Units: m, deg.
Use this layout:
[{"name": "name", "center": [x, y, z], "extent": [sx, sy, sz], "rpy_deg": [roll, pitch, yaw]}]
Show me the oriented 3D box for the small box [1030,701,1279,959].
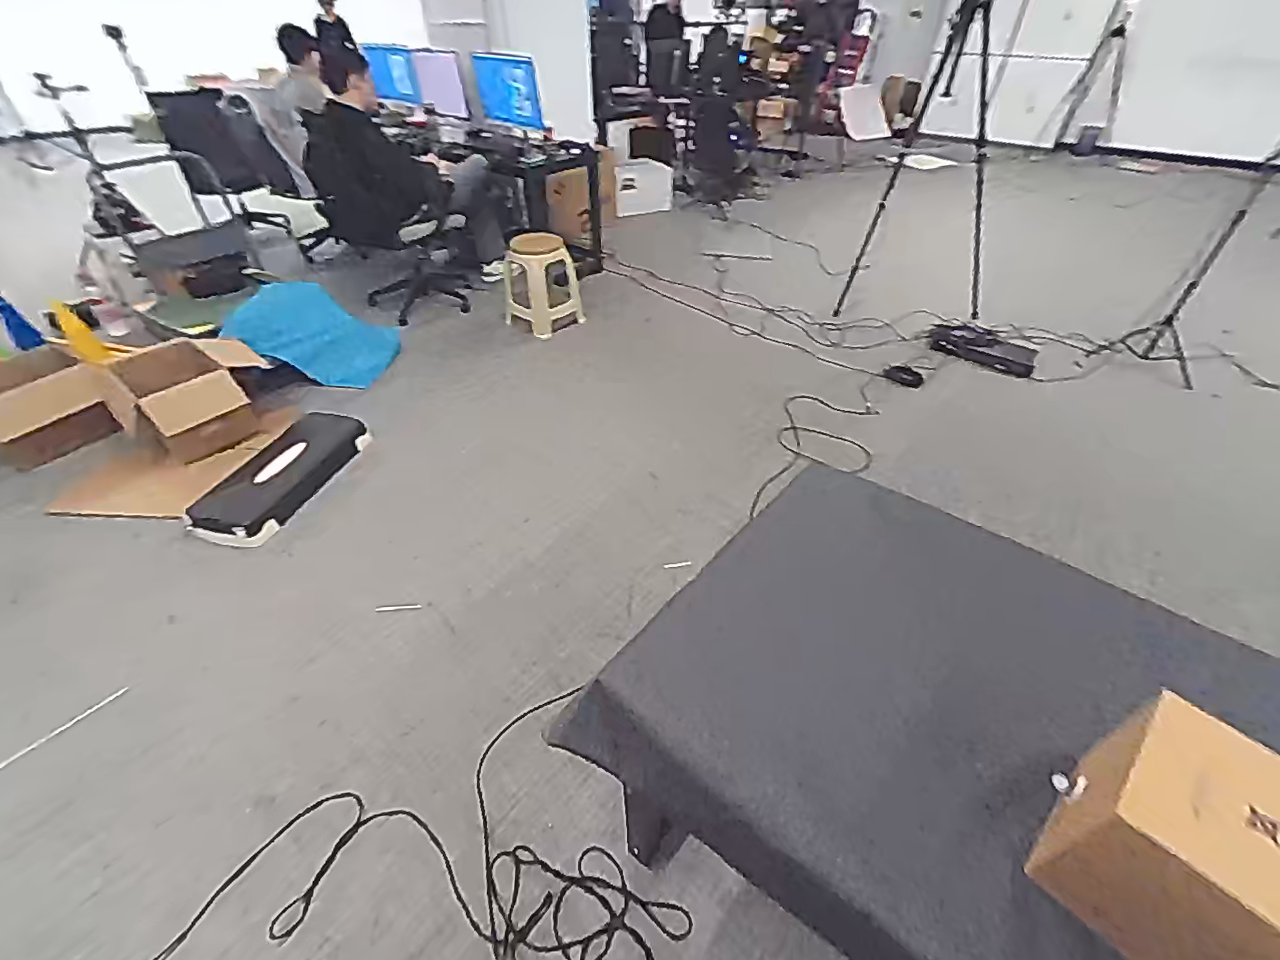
[{"name": "small box", "center": [0.501, 0.346, 0.478], "extent": [0.168, 0.176, 0.179], "rpy_deg": [-29, 47, -31]}]
